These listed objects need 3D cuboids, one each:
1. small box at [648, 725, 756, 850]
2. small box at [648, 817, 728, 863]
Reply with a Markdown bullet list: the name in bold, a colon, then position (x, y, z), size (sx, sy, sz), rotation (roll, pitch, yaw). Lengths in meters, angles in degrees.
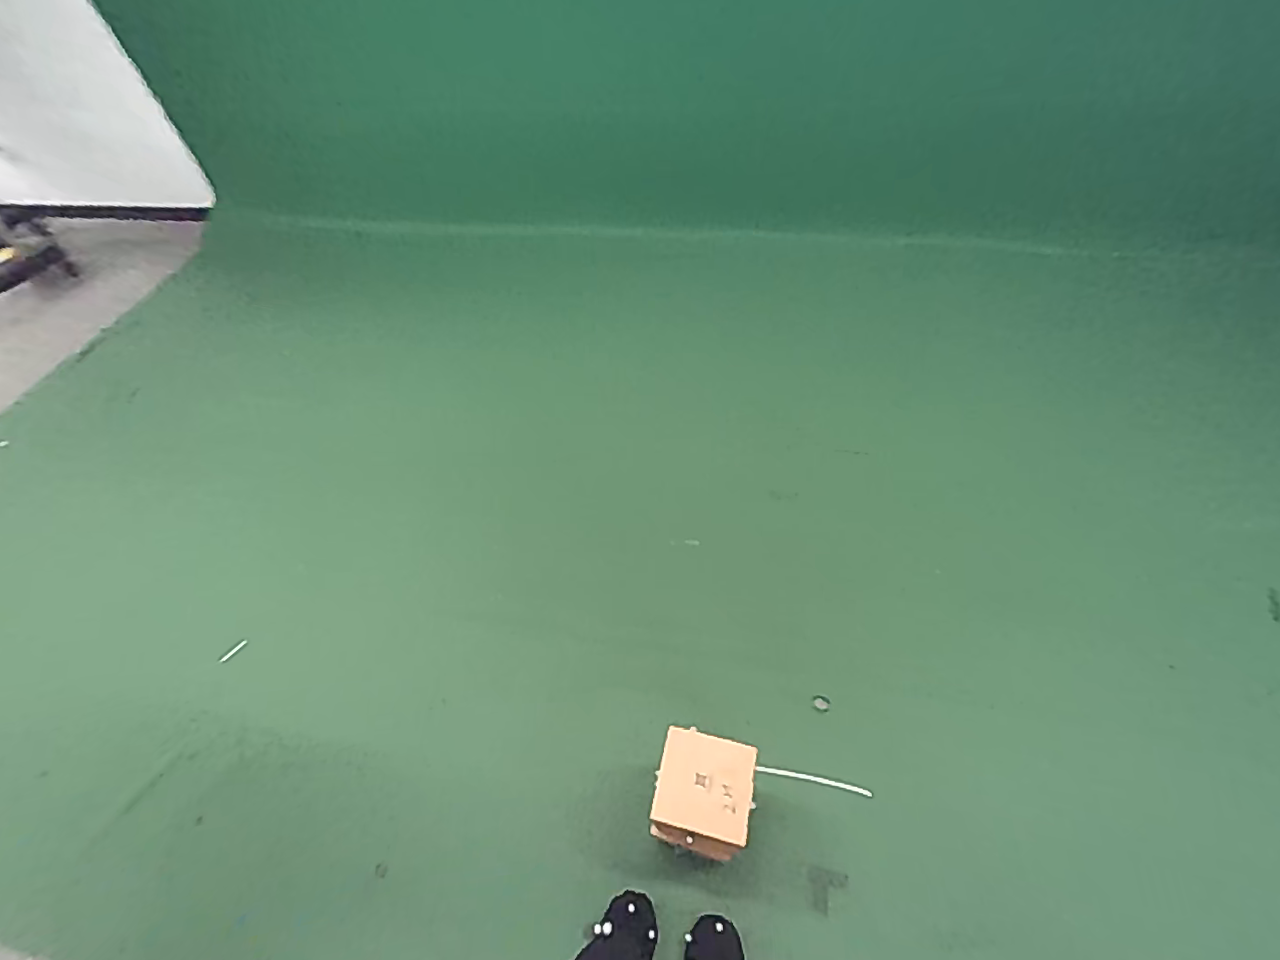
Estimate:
- **small box**: position (0.123, 0.610, 1.067), size (0.179, 0.176, 0.168), rotation (10, 54, 12)
- **small box**: position (0.125, 0.718, 1.191), size (0.168, 0.176, 0.179), rotation (10, 53, 13)
